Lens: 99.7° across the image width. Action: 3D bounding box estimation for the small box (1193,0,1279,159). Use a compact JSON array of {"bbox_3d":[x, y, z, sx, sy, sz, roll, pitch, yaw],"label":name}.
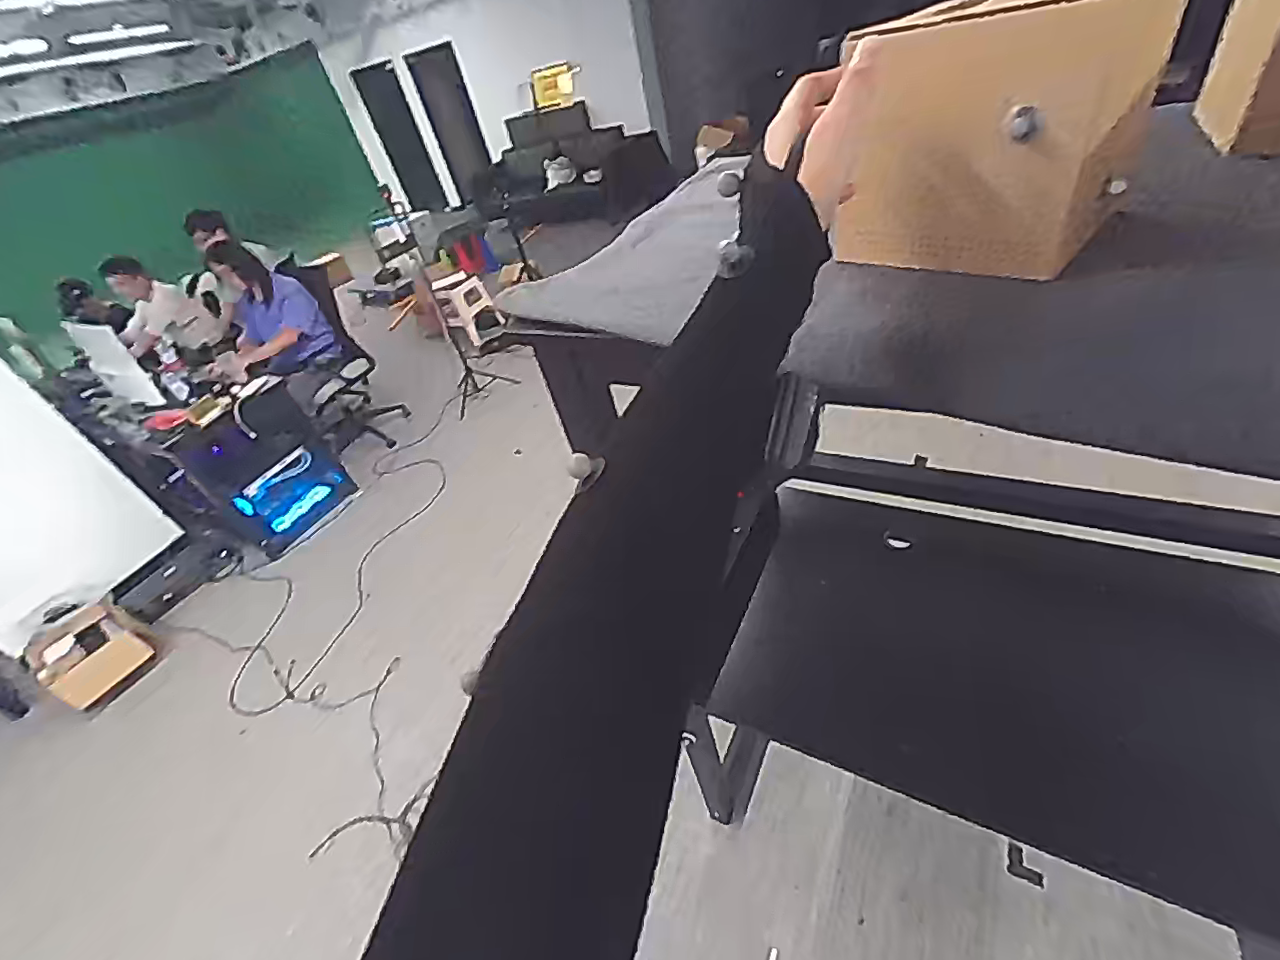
[{"bbox_3d":[0.628,-0.397,0.467,0.168,0.176,0.179,10,46,29],"label":"small box"}]
